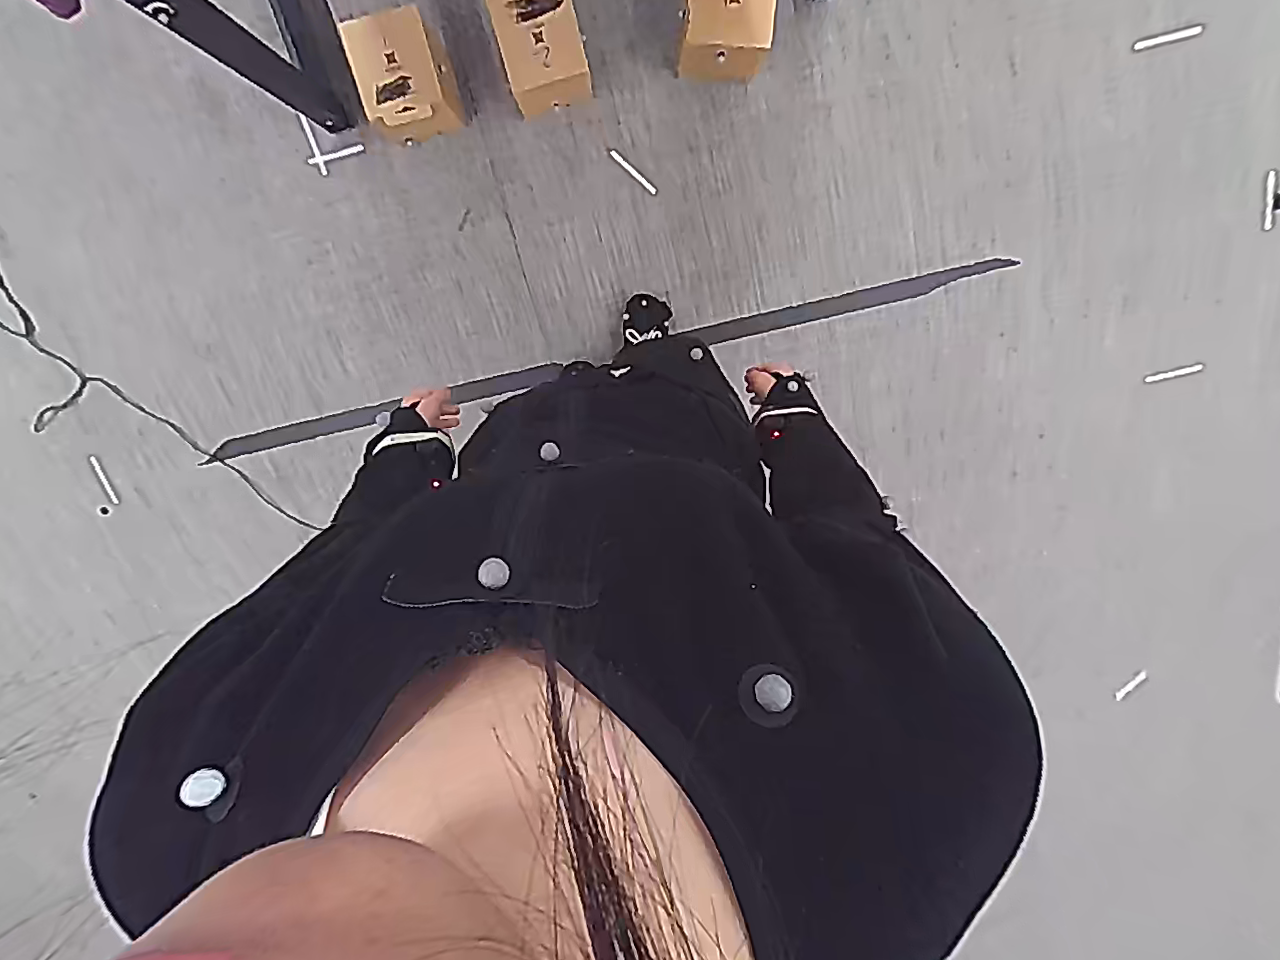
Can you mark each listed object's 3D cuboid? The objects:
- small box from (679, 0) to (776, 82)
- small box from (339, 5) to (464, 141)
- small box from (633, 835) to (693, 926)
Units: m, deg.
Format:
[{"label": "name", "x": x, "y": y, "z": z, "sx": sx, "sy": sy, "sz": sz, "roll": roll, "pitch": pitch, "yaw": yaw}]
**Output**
[{"label": "small box", "x": 0.182, "y": -0.978, "z": 1.151, "sx": 0.179, "sy": 0.176, "sz": 0.168, "roll": 3, "pitch": 107, "yaw": -1}, {"label": "small box", "x": -0.499, "y": -0.857, "z": 1.162, "sx": 0.168, "sy": 0.176, "sz": 0.179, "roll": -13, "pitch": 105, "yaw": 2}, {"label": "small box", "x": 0.077, "y": 1.362, "z": 1.844, "sx": 0.168, "sy": 0.176, "sz": 0.179, "roll": -15, "pitch": 108, "yaw": 3}]
